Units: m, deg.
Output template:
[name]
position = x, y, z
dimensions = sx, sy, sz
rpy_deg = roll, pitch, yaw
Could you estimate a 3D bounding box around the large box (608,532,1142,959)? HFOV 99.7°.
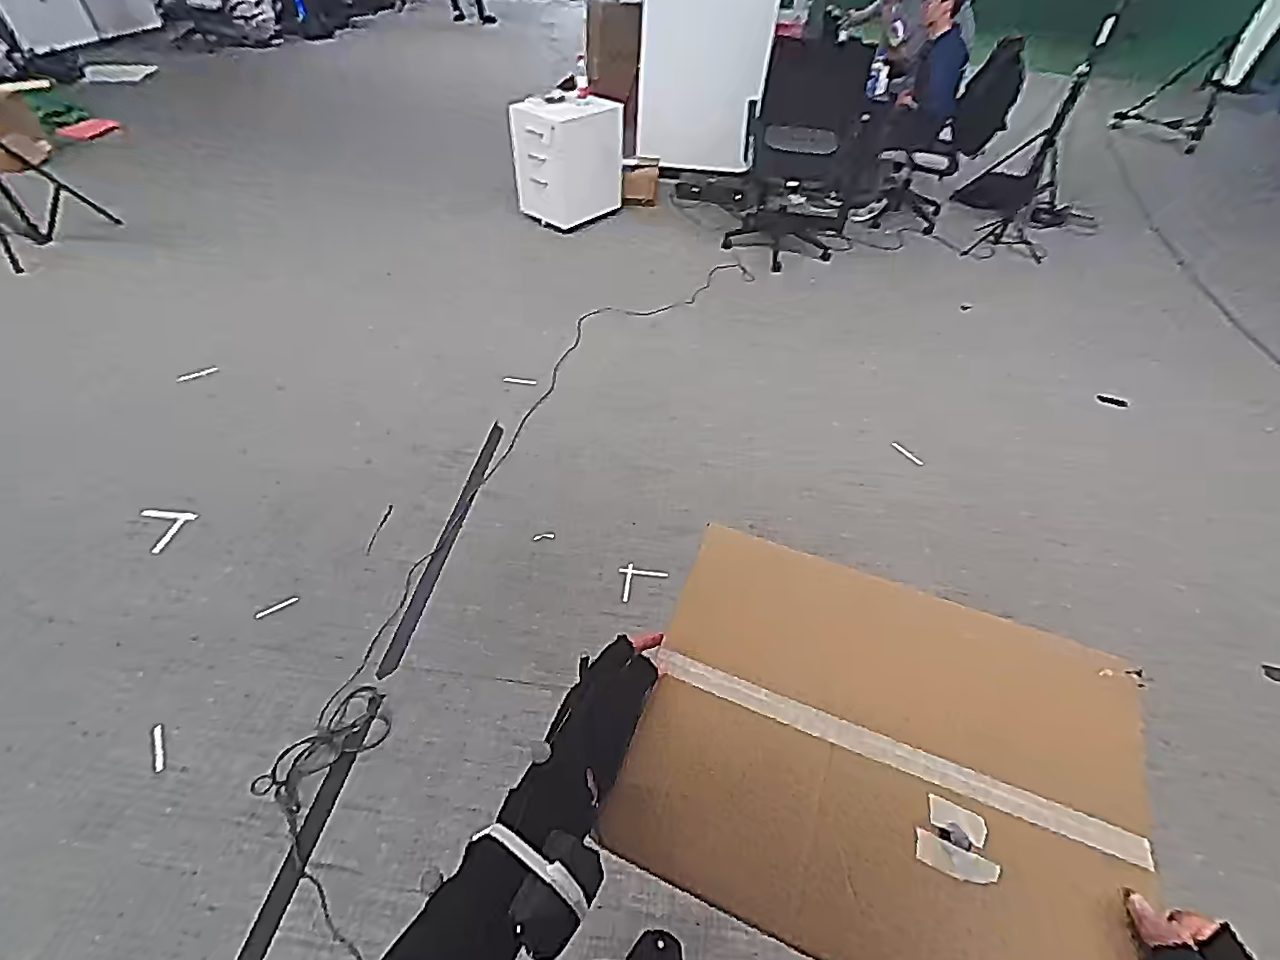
[large box]
position = 0.215, 0.312, 0.601
dimensions = 0.408, 0.320, 0.320
rpy_deg = 18, 61, 14
